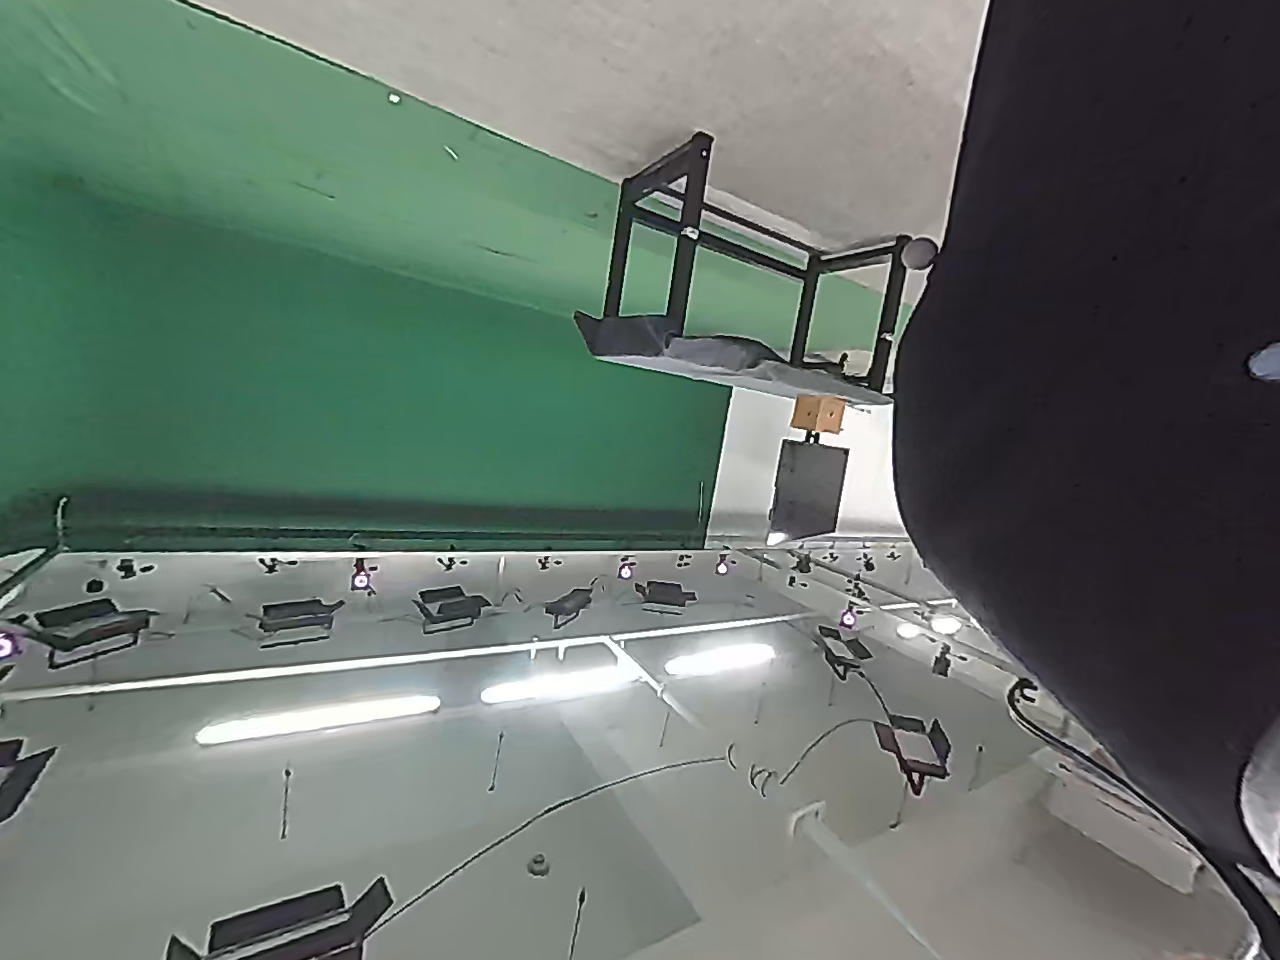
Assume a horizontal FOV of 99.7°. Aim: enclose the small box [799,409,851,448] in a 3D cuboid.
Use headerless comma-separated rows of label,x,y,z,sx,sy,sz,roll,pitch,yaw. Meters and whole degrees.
small box,0.919,-0.258,2.670,0.168,0.176,0.179,8,-174,-26
